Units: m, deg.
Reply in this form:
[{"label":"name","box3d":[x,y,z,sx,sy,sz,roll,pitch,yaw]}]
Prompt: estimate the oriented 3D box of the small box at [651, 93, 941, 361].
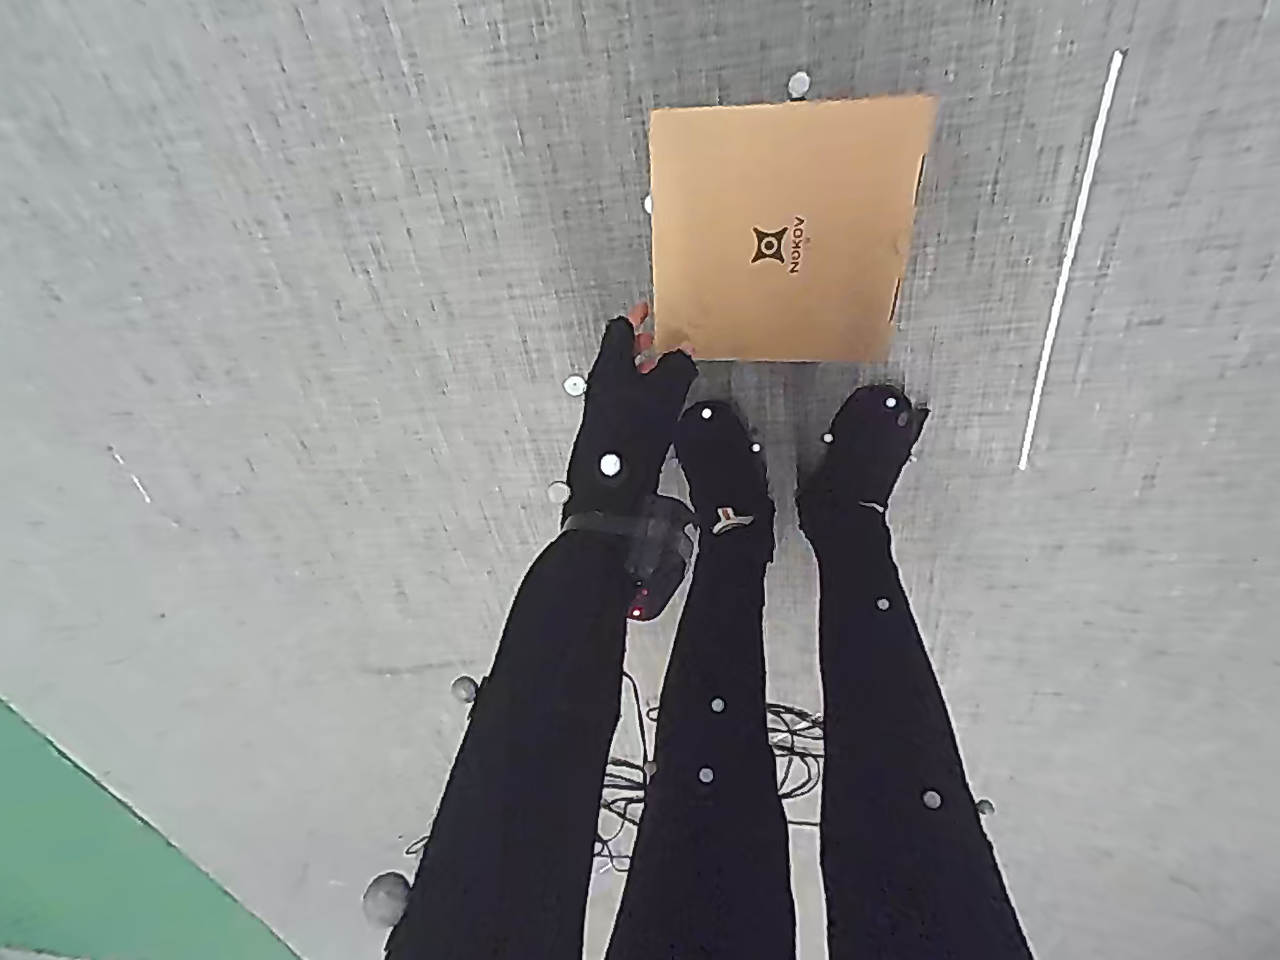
[{"label":"small box","box3d":[0.107,-0.203,0.439,0.179,0.176,0.168,2,121,8]}]
